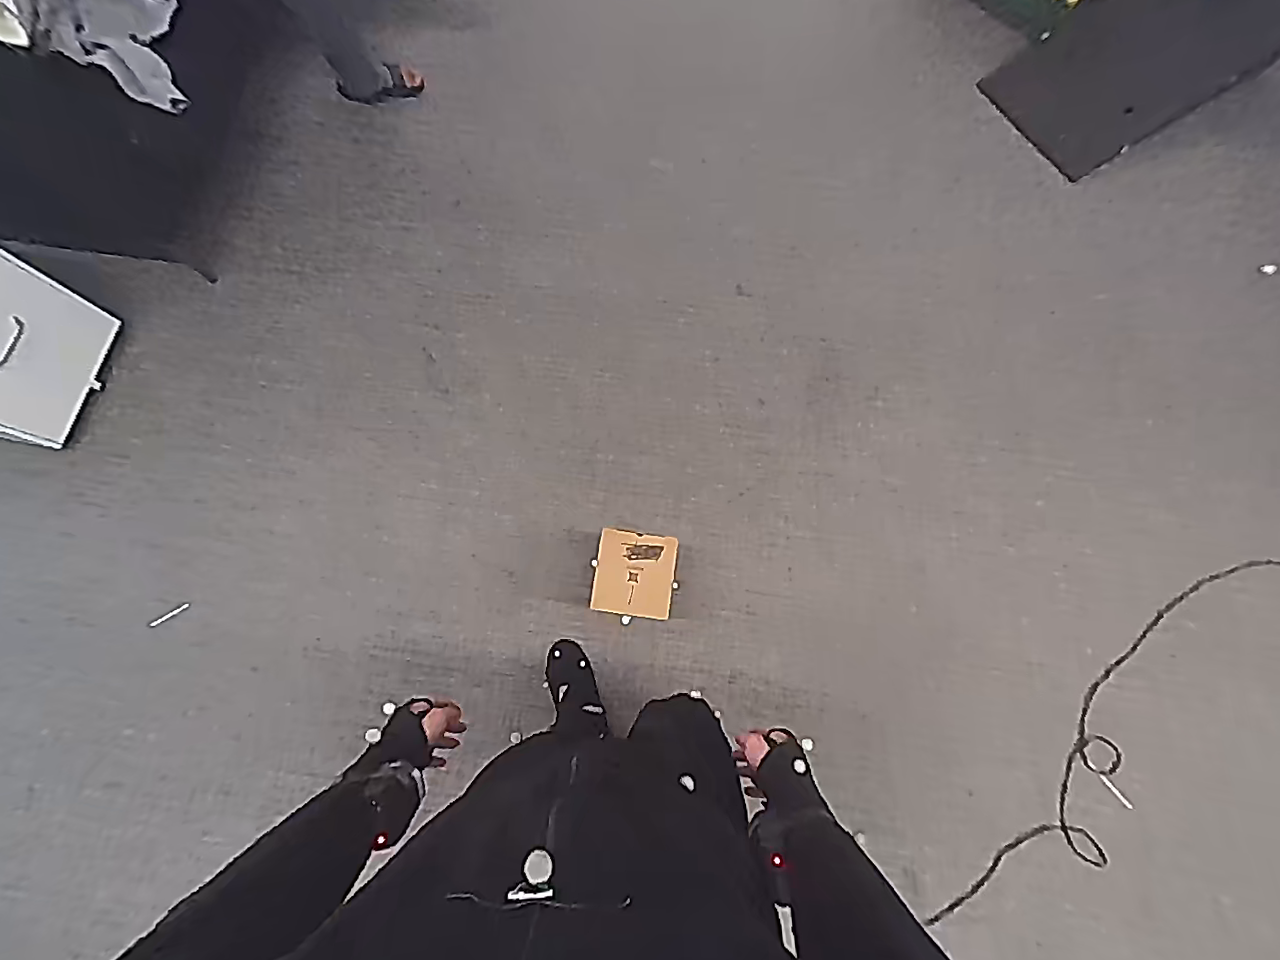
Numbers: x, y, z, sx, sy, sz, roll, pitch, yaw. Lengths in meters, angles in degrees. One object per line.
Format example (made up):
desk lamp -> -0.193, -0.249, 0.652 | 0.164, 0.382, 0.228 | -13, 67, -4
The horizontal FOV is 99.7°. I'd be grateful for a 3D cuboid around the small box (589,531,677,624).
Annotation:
small box -> -0.016, 0.223, 1.209 | 0.168, 0.176, 0.179 | 8, 75, 1
